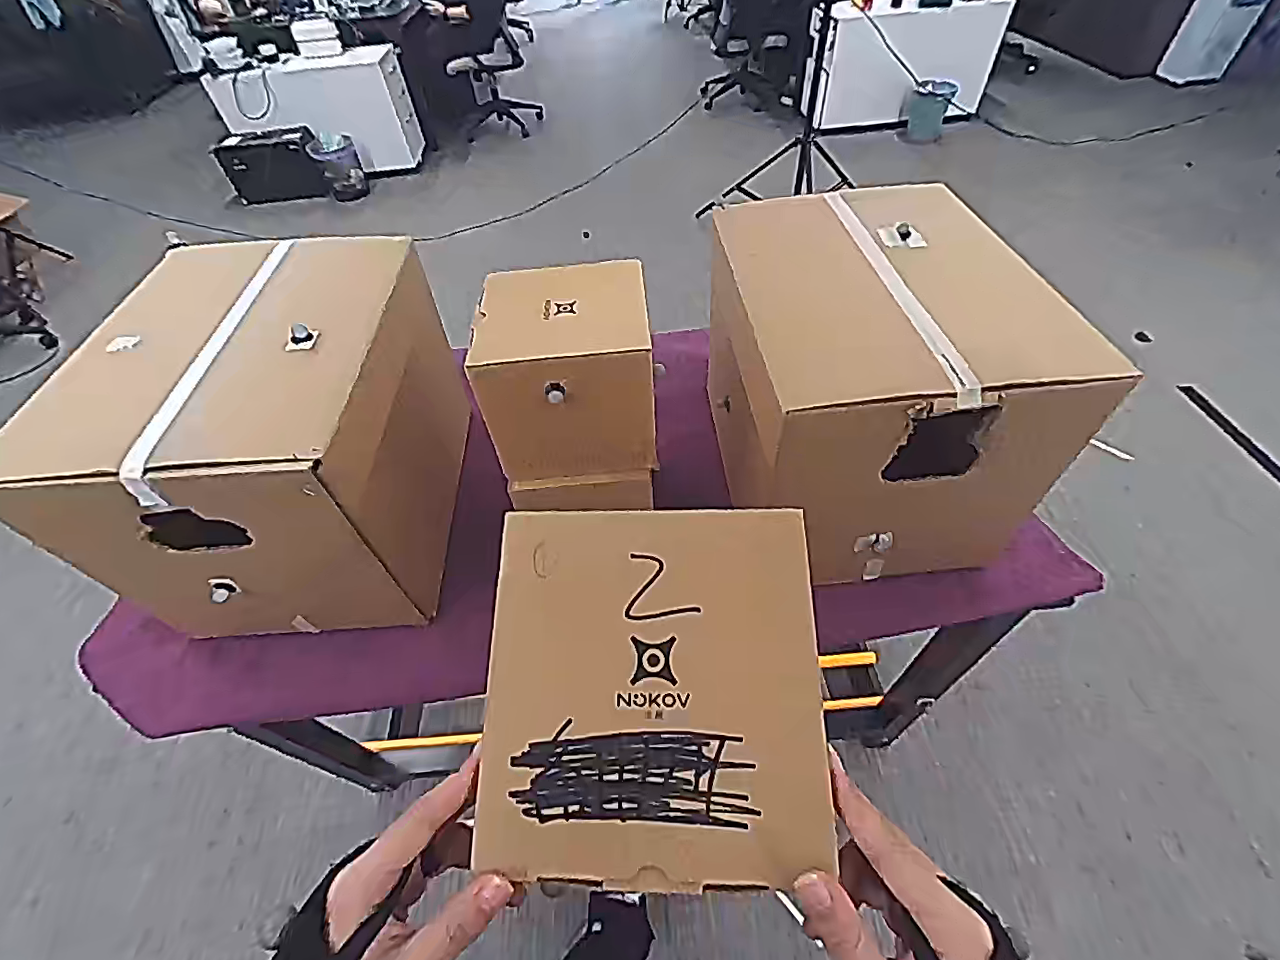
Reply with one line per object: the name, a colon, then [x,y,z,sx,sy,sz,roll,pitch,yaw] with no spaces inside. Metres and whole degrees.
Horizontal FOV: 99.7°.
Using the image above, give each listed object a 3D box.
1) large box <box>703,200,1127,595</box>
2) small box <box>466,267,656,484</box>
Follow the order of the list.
large box: [0.266,-0.112,0.705,0.320,0.320,0.408,-6,48,0]
small box: [-0.074,-0.113,0.610,0.179,0.176,0.168,-6,49,1]
